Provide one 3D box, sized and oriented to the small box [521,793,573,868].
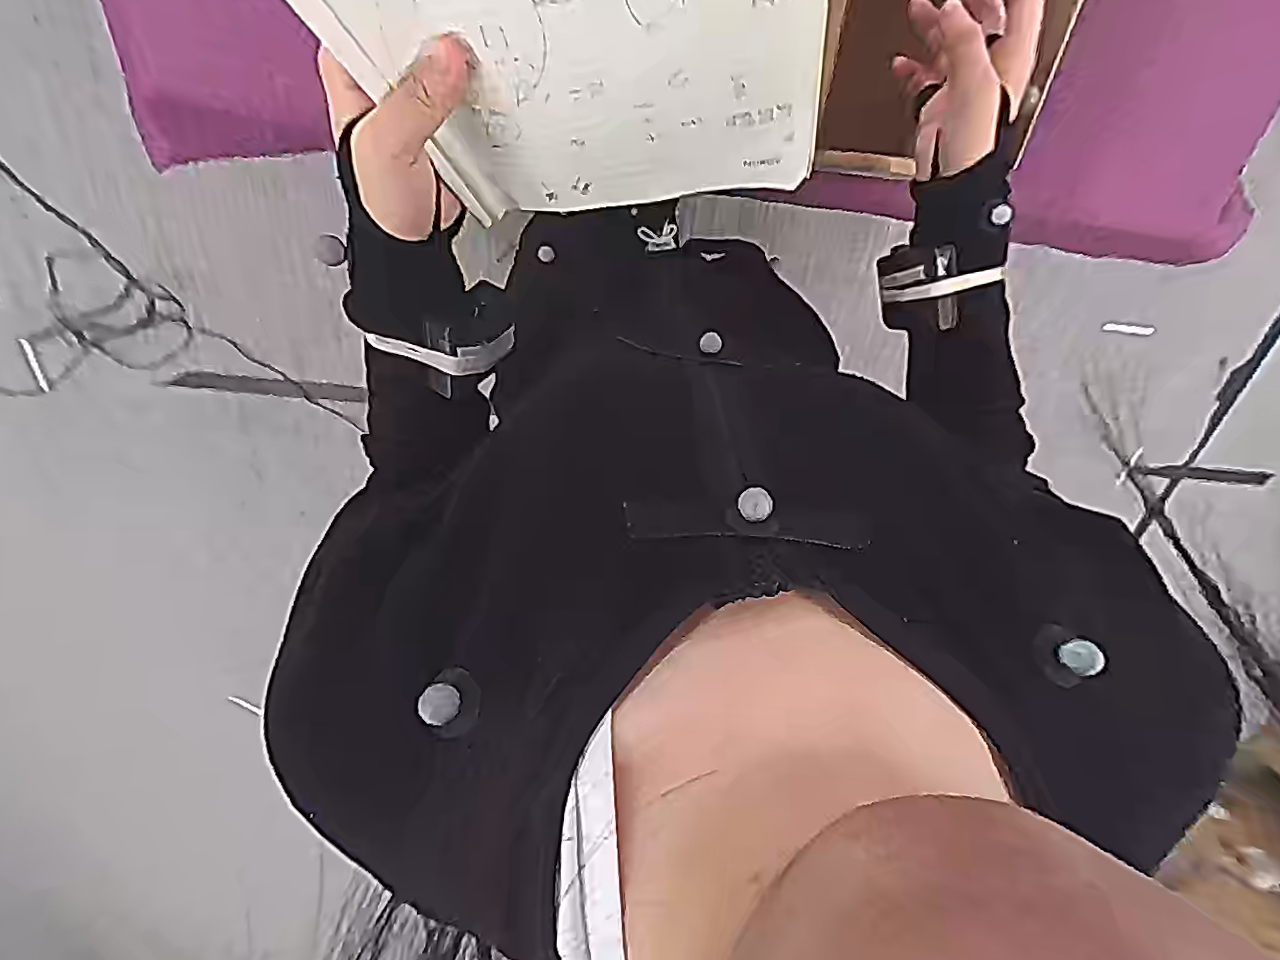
[{"bbox_3d":[-0.322,1.216,1.884,0.168,0.176,0.179,1,121,-4],"label":"small box"}]
